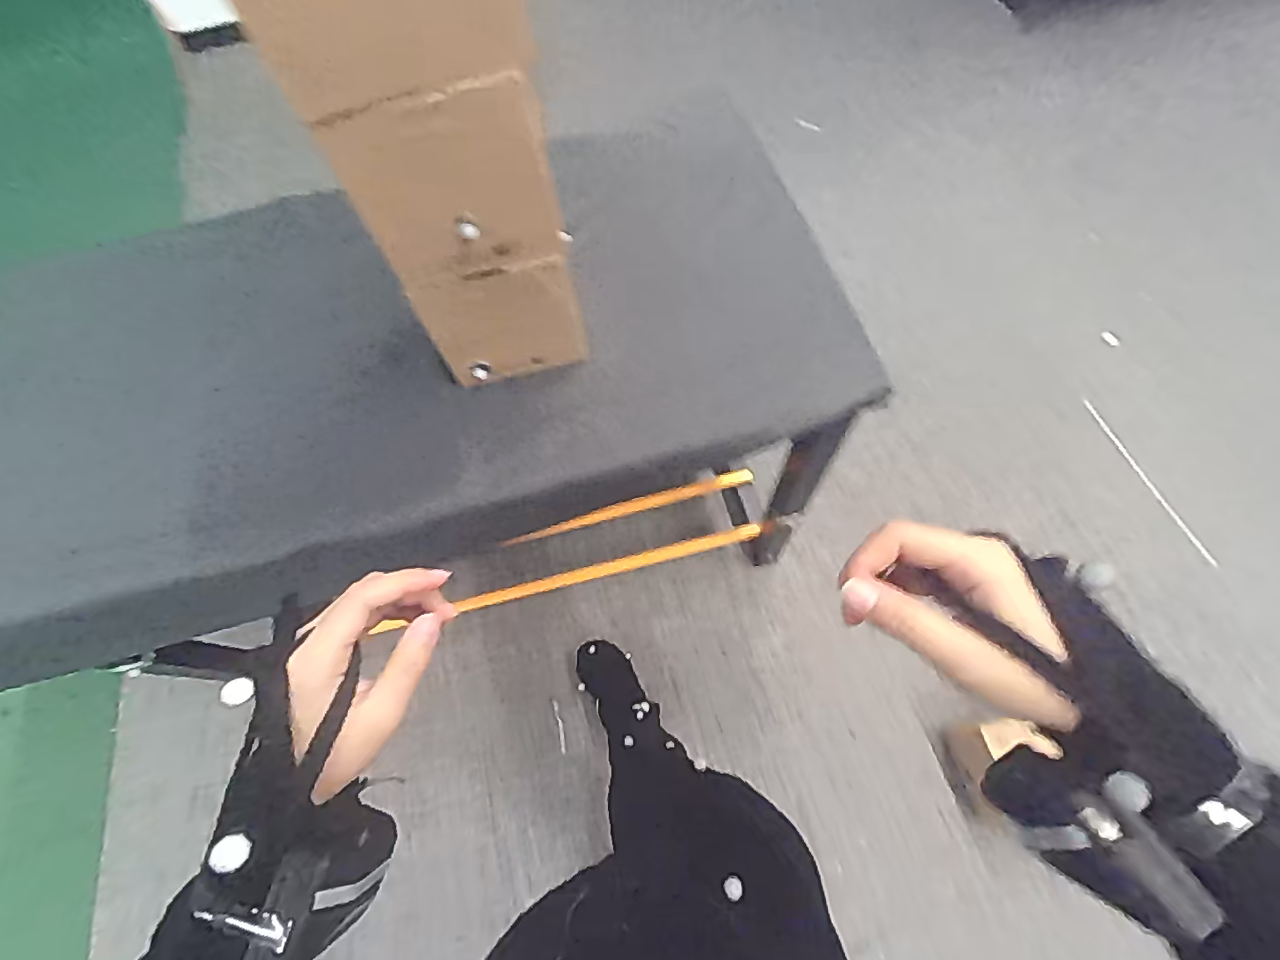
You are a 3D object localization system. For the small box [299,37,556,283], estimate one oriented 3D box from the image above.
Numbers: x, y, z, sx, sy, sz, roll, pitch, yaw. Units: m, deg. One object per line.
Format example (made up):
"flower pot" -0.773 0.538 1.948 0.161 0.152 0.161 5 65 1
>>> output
"small box" -0.188 -0.321 0.505 0.168 0.176 0.179 -17 65 -3

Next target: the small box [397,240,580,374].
"small box" -0.177 -0.248 0.653 0.168 0.176 0.179 -14 64 -3

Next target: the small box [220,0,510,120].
"small box" -0.199 -0.384 0.356 0.179 0.176 0.168 -22 64 -5

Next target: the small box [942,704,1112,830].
"small box" 0.717 0.534 1.028 0.168 0.176 0.179 -13 66 -1
